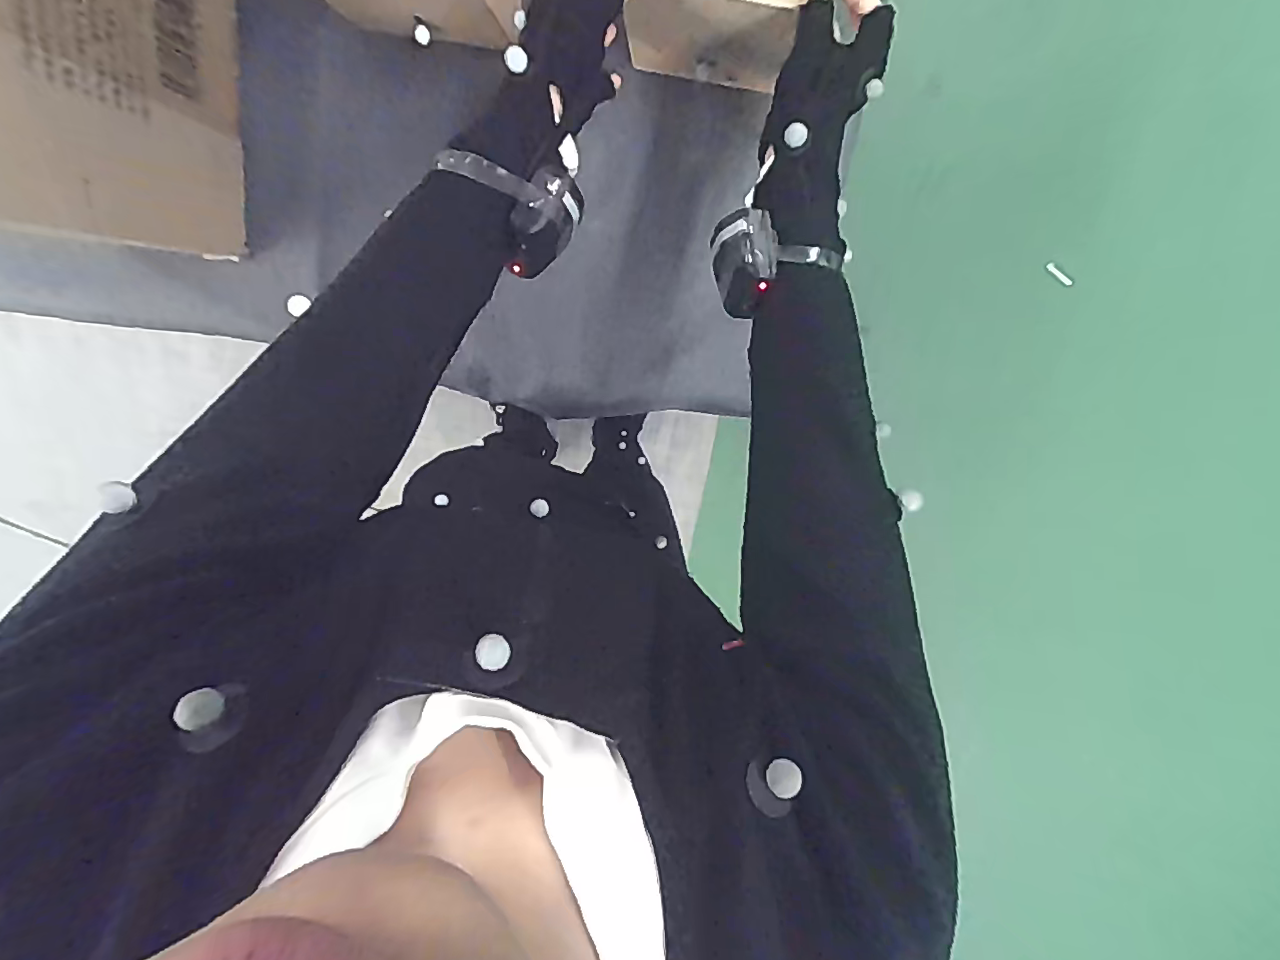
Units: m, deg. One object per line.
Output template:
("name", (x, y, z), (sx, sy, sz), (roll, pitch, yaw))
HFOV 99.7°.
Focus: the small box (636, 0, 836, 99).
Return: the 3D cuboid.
("small box", (0.089, -0.472, 0.469), (0.168, 0.176, 0.179), (11, 108, 1))
